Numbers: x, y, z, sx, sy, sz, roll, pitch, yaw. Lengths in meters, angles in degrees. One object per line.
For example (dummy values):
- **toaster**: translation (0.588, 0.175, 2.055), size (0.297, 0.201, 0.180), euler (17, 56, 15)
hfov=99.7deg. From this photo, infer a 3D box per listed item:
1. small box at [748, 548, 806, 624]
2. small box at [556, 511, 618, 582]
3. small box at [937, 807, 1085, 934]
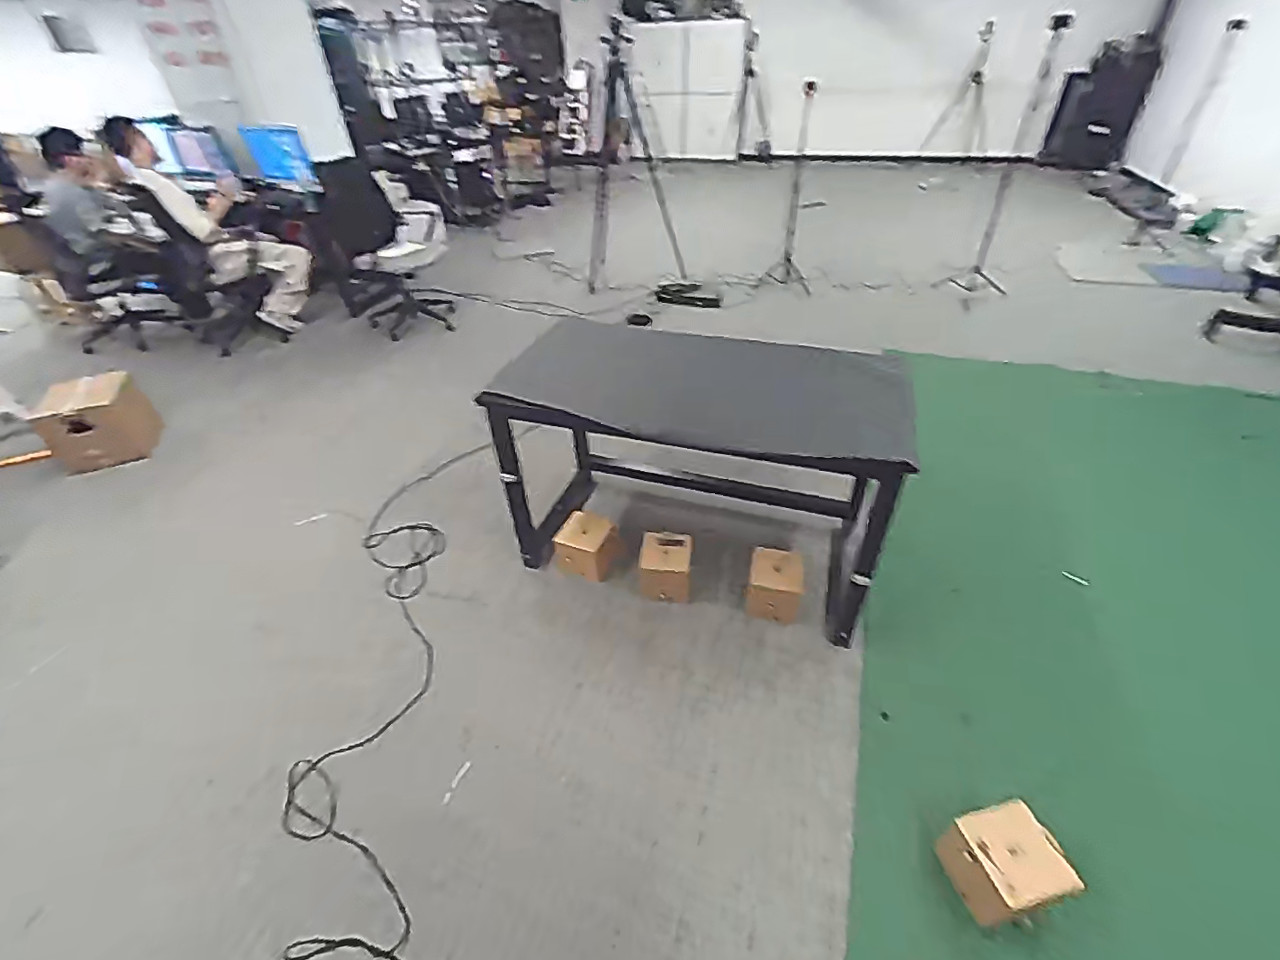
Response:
- **small box**: translation (0.459, 0.358, 1.817), size (0.168, 0.176, 0.179), euler (8, 39, 13)
- **small box**: translation (-0.187, 0.249, 2.000), size (0.168, 0.176, 0.179), euler (14, 40, 20)
- **small box**: translation (0.793, 0.850, 1.177), size (0.179, 0.176, 0.168), euler (-9, 38, -9)
